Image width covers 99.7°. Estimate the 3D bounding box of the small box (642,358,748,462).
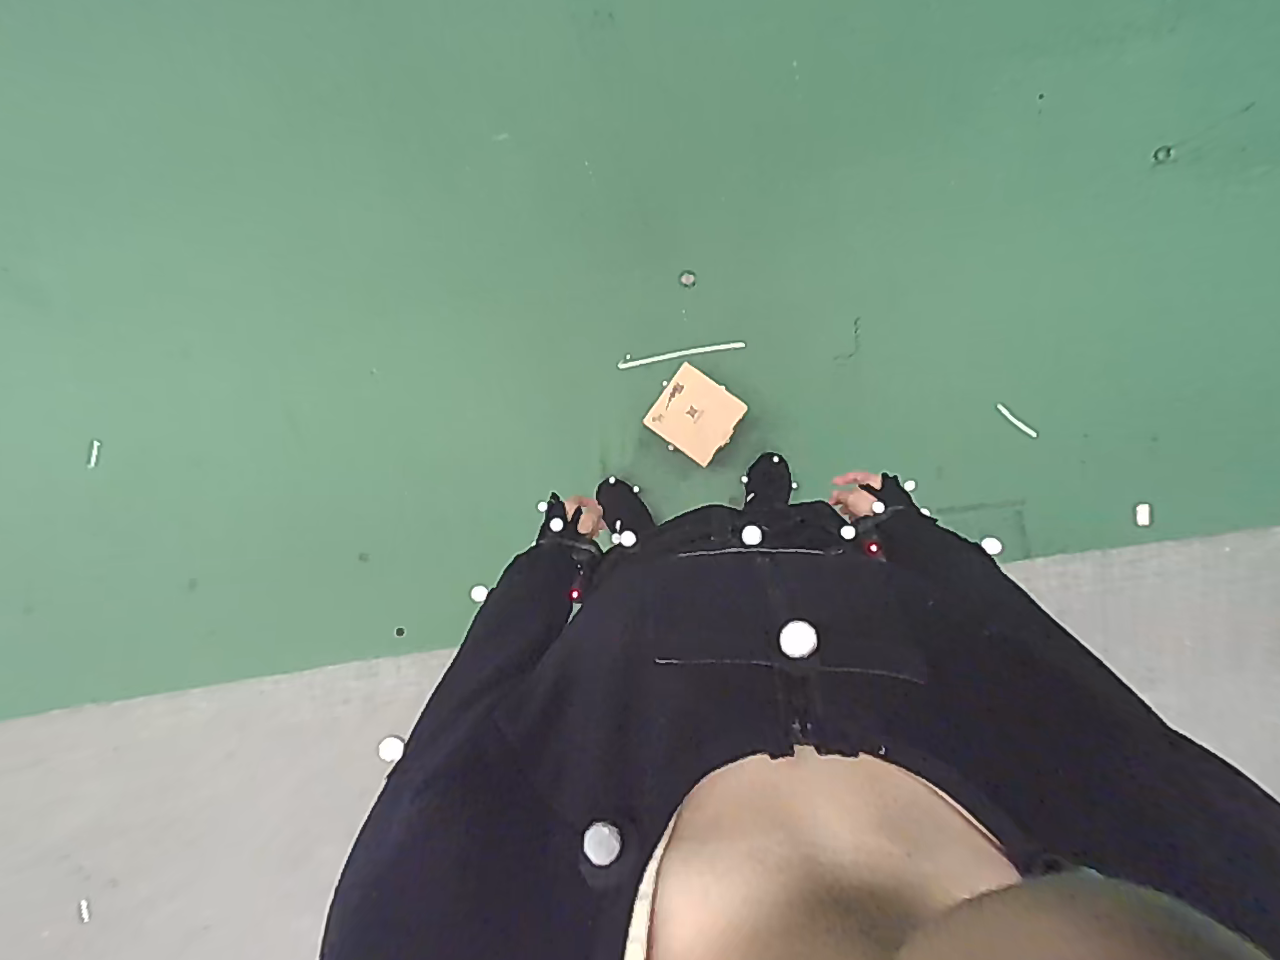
[{"bbox_3d":[0.124,-0.162,1.260,0.179,0.176,0.168,36,96,0],"label":"small box"}]
